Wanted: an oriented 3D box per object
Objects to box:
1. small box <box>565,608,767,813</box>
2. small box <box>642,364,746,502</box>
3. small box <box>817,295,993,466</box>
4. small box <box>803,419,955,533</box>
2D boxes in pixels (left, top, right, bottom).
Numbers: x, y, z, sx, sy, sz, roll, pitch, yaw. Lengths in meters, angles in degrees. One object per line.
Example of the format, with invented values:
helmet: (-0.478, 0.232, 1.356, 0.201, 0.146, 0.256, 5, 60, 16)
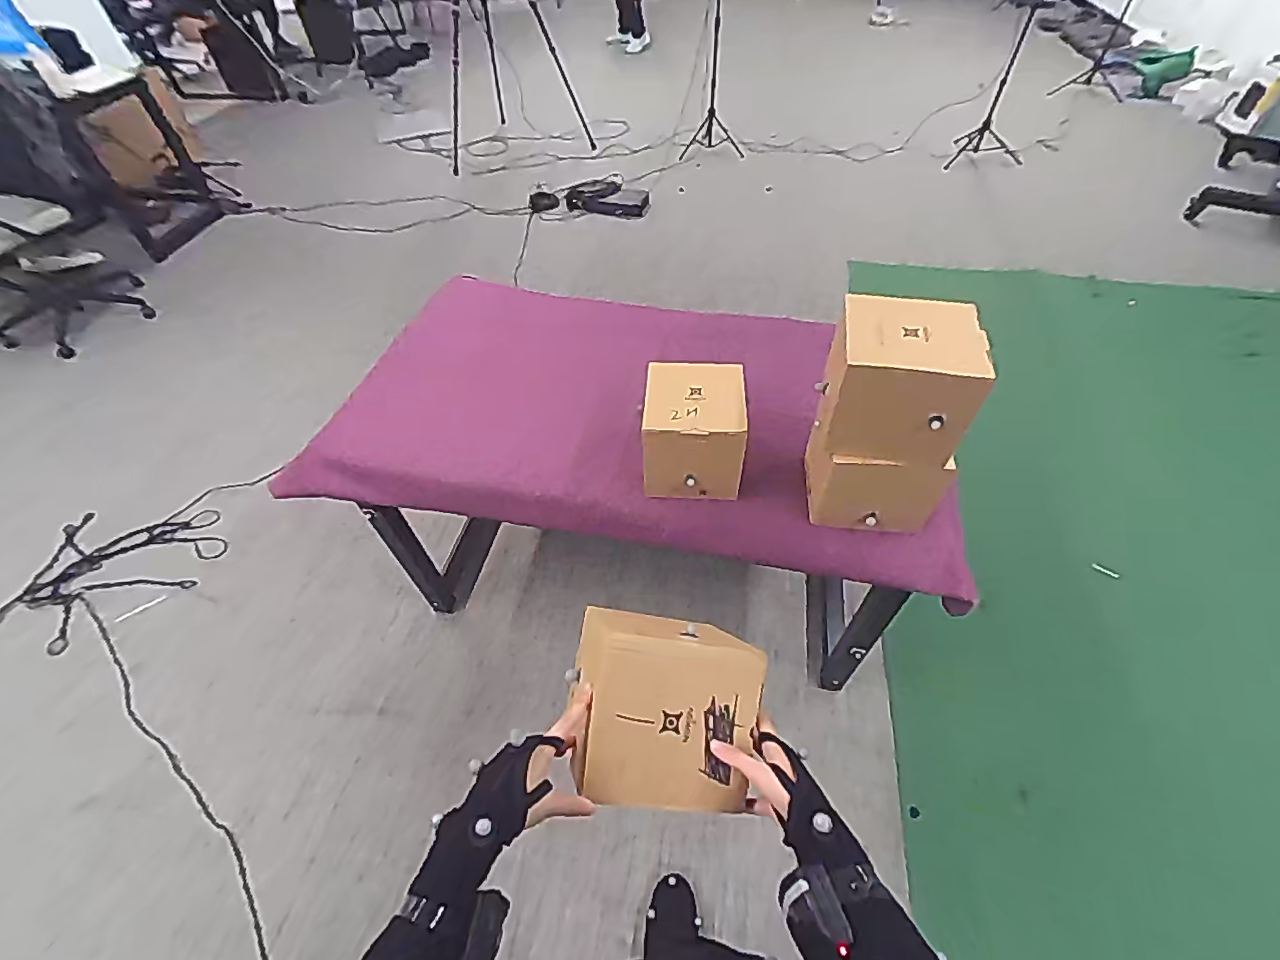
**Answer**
small box: (0.020, 0.250, 0.621, 0.179, 0.176, 0.168, 12, 83, -12)
small box: (0.092, -0.083, 0.952, 0.168, 0.176, 0.179, 2, 50, 5)
small box: (0.363, -0.139, 0.772, 0.179, 0.176, 0.168, 8, 51, 11)
small box: (0.379, -0.027, 0.891, 0.179, 0.176, 0.168, 4, 50, 6)
